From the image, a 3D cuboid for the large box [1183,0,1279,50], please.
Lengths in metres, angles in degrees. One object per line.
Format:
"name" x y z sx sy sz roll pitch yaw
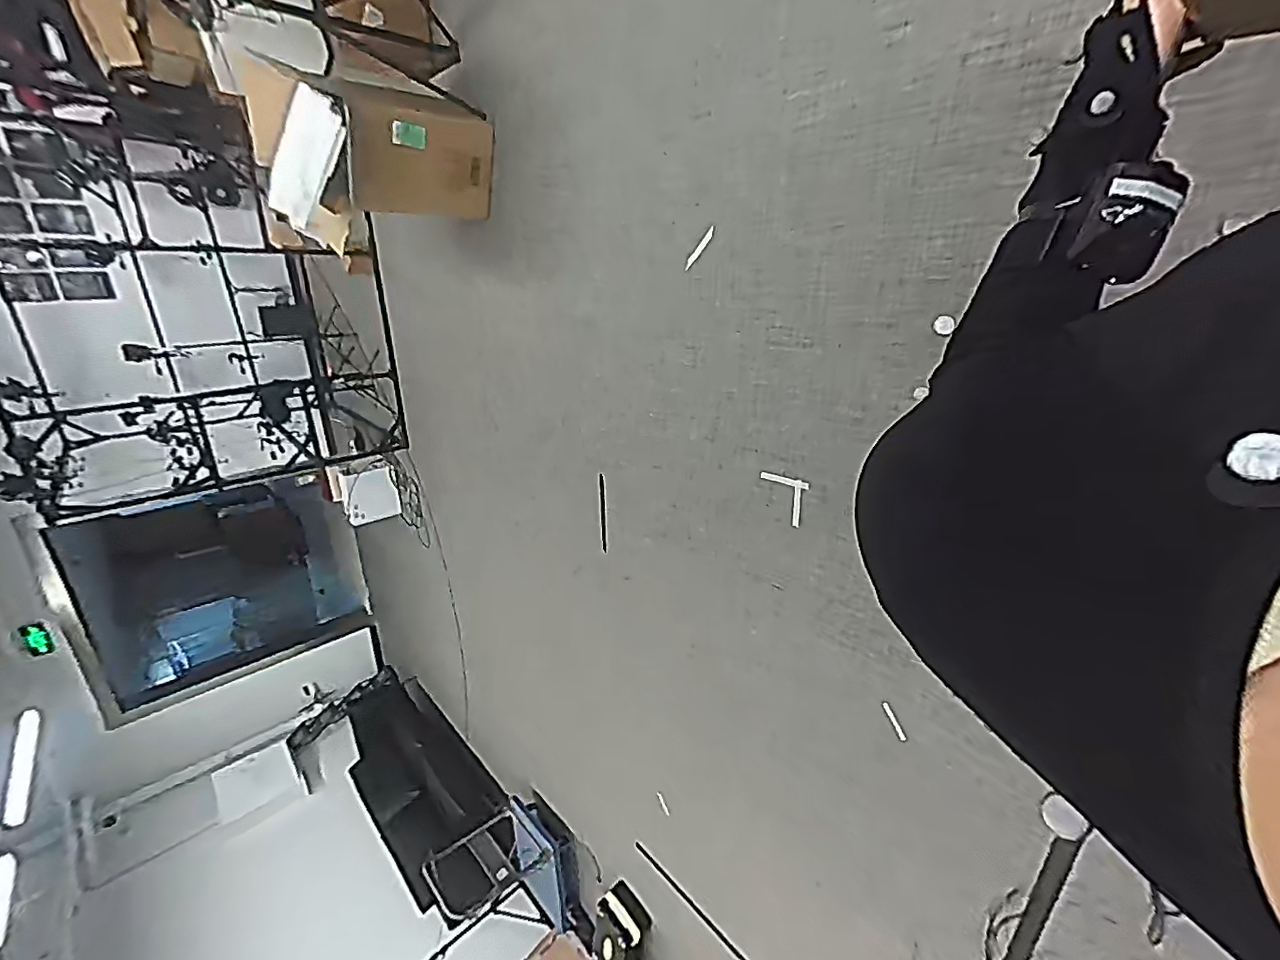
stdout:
"large box" 0.436 -0.339 0.111 0.408 0.320 0.320 20 128 39
